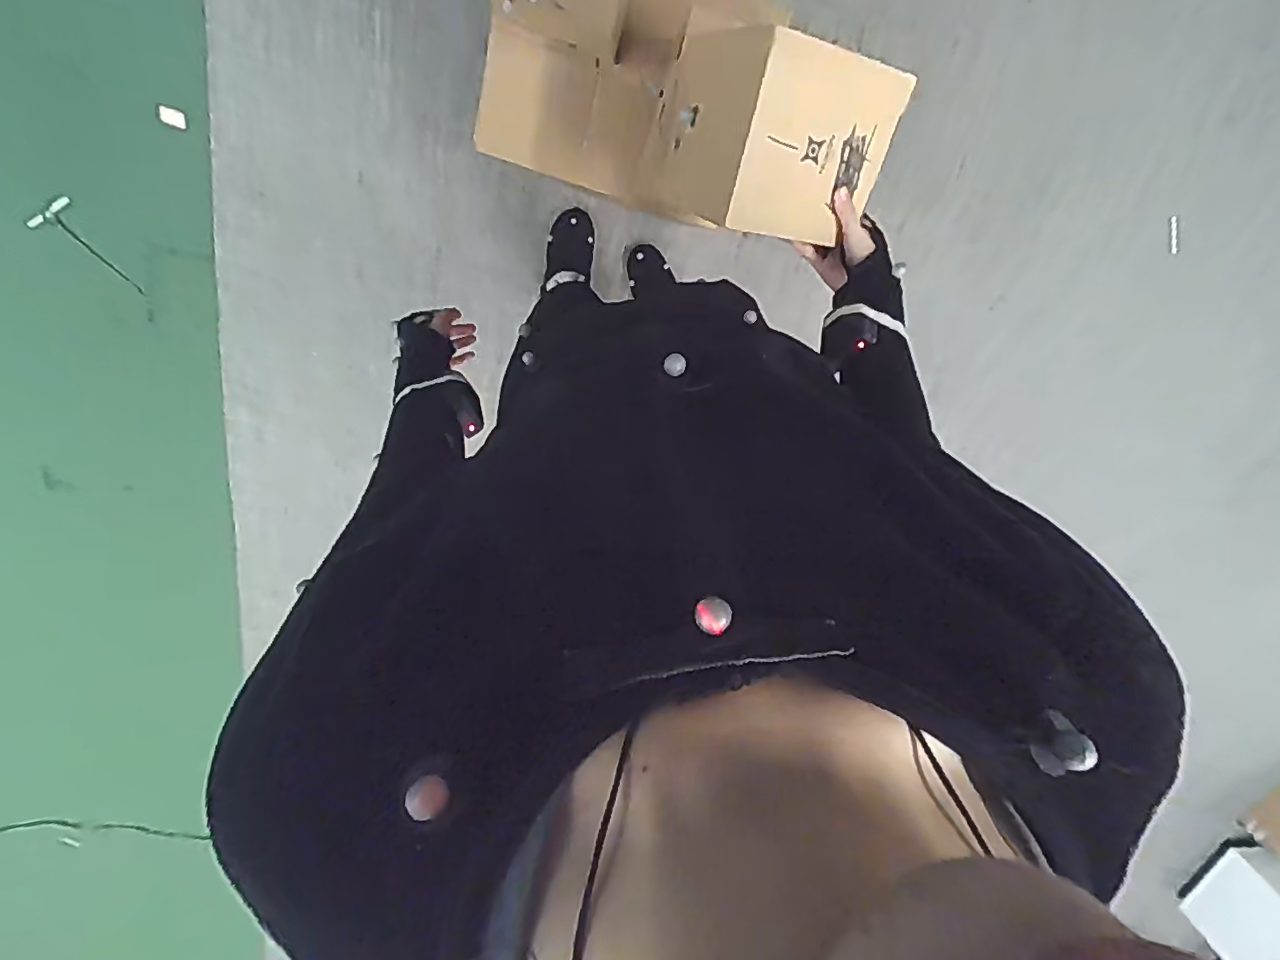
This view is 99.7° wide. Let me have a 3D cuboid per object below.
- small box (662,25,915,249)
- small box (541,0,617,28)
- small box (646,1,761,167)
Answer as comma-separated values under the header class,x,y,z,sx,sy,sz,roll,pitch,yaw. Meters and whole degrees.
class,x,y,z,sx,sy,sz,roll,pitch,yaw
small box,0.148,-0.373,0.596,0.179,0.176,0.168,-3,126,-25
small box,-0.079,-0.599,0.525,0.168,0.176,0.179,19,113,-11
small box,0.114,-0.512,0.757,0.179,0.176,0.168,16,116,-11
